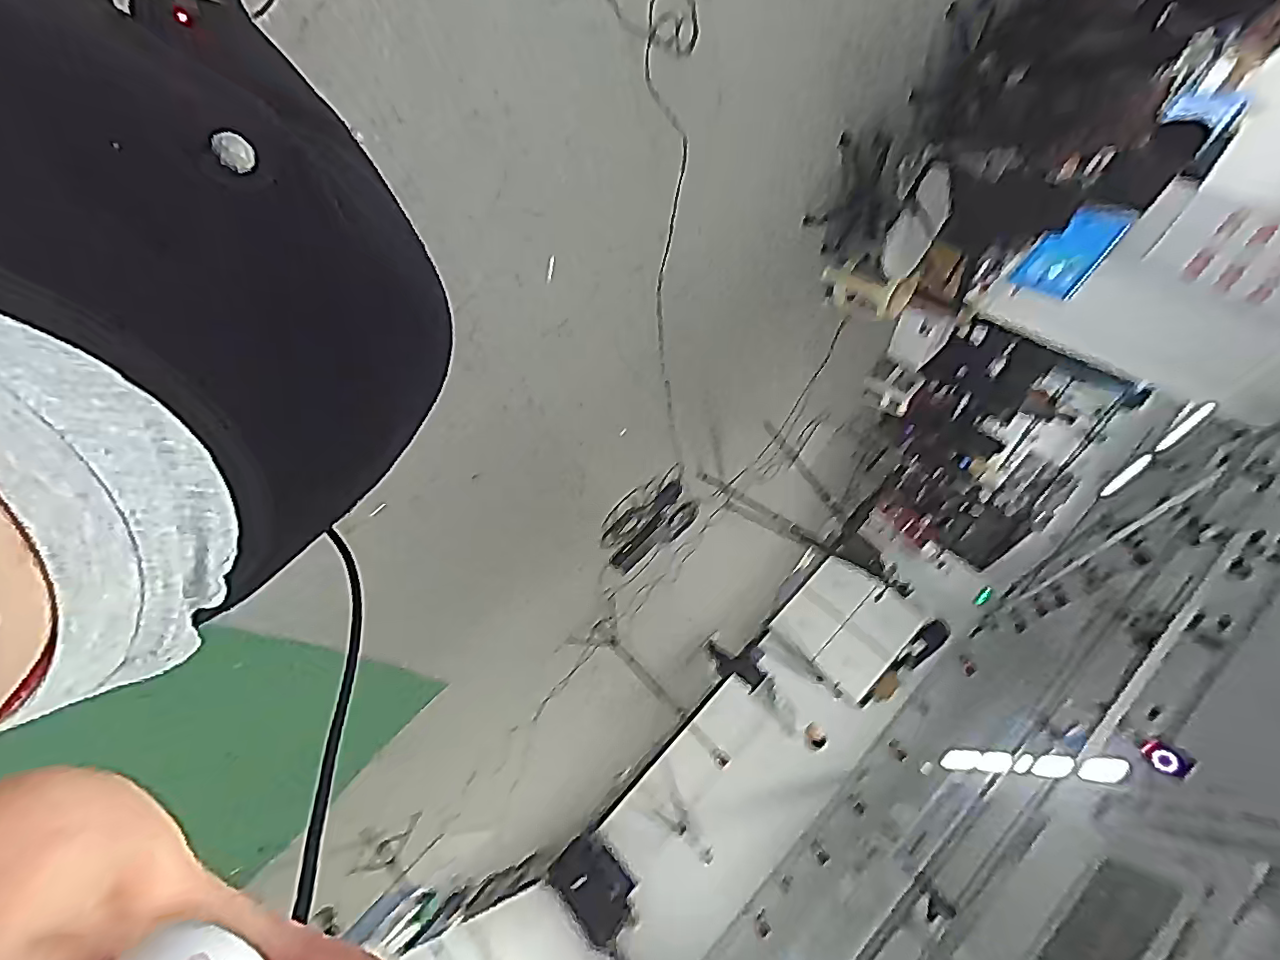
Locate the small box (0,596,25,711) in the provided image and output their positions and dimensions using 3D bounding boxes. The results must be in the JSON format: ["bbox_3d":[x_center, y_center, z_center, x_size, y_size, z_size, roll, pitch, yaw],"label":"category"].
[{"bbox_3d":[-0.873,0.226,0.609,0.179,0.176,0.168,-46,153,-7],"label":"small box"}]
